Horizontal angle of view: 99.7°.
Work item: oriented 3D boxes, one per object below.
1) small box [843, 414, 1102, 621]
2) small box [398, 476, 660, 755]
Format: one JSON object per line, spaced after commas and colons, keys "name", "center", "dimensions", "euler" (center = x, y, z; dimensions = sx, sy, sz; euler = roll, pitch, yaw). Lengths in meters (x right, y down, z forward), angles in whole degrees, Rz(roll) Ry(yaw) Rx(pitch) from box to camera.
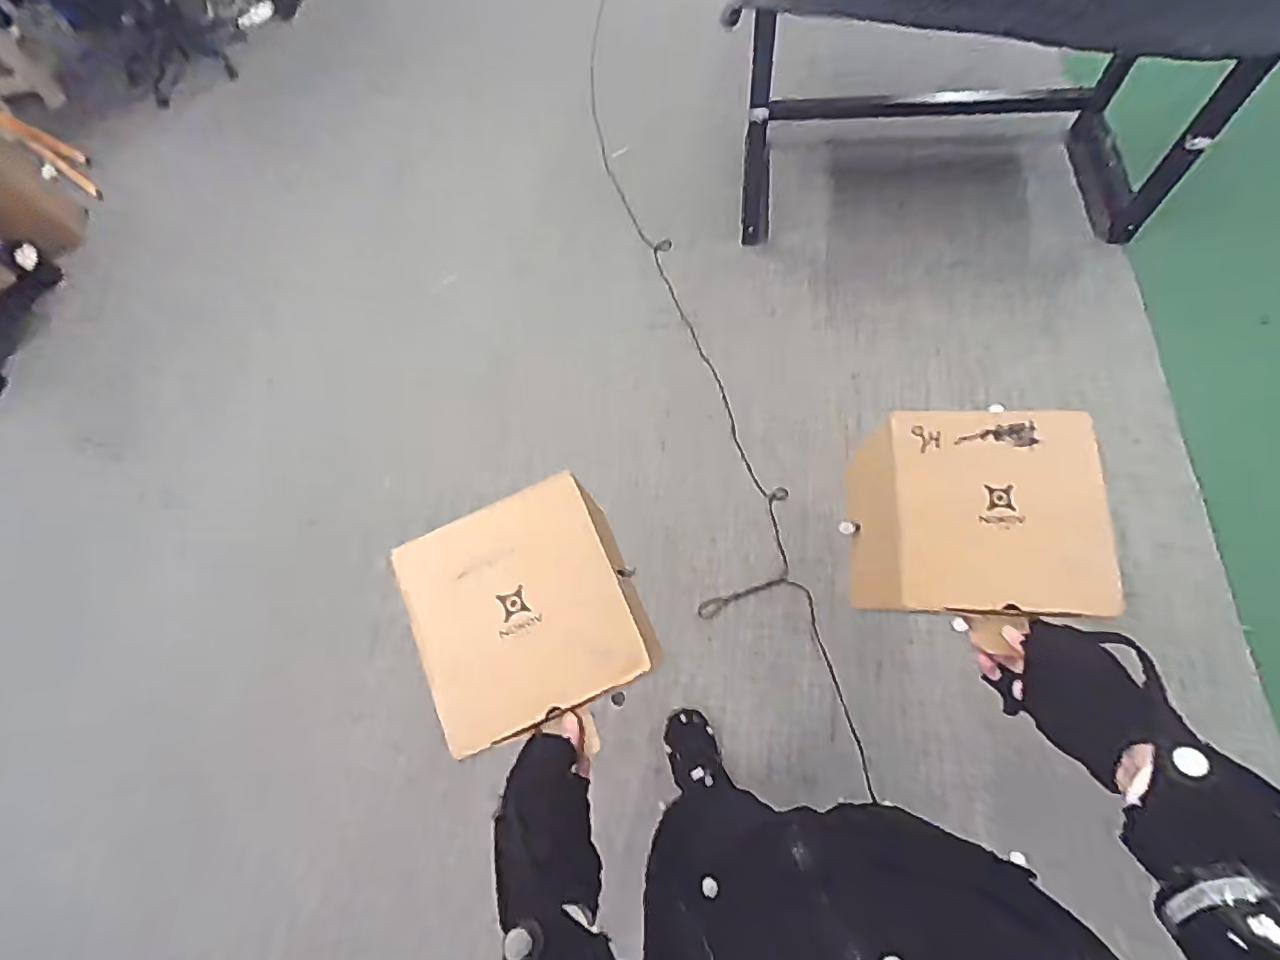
{"name": "small box", "center": [0.308, 0.043, 0.542], "dimensions": [0.168, 0.176, 0.179], "euler": [1, 77, 8]}
{"name": "small box", "center": [-0.090, 0.124, 0.513], "dimensions": [0.168, 0.176, 0.179], "euler": [-25, 73, -1]}
